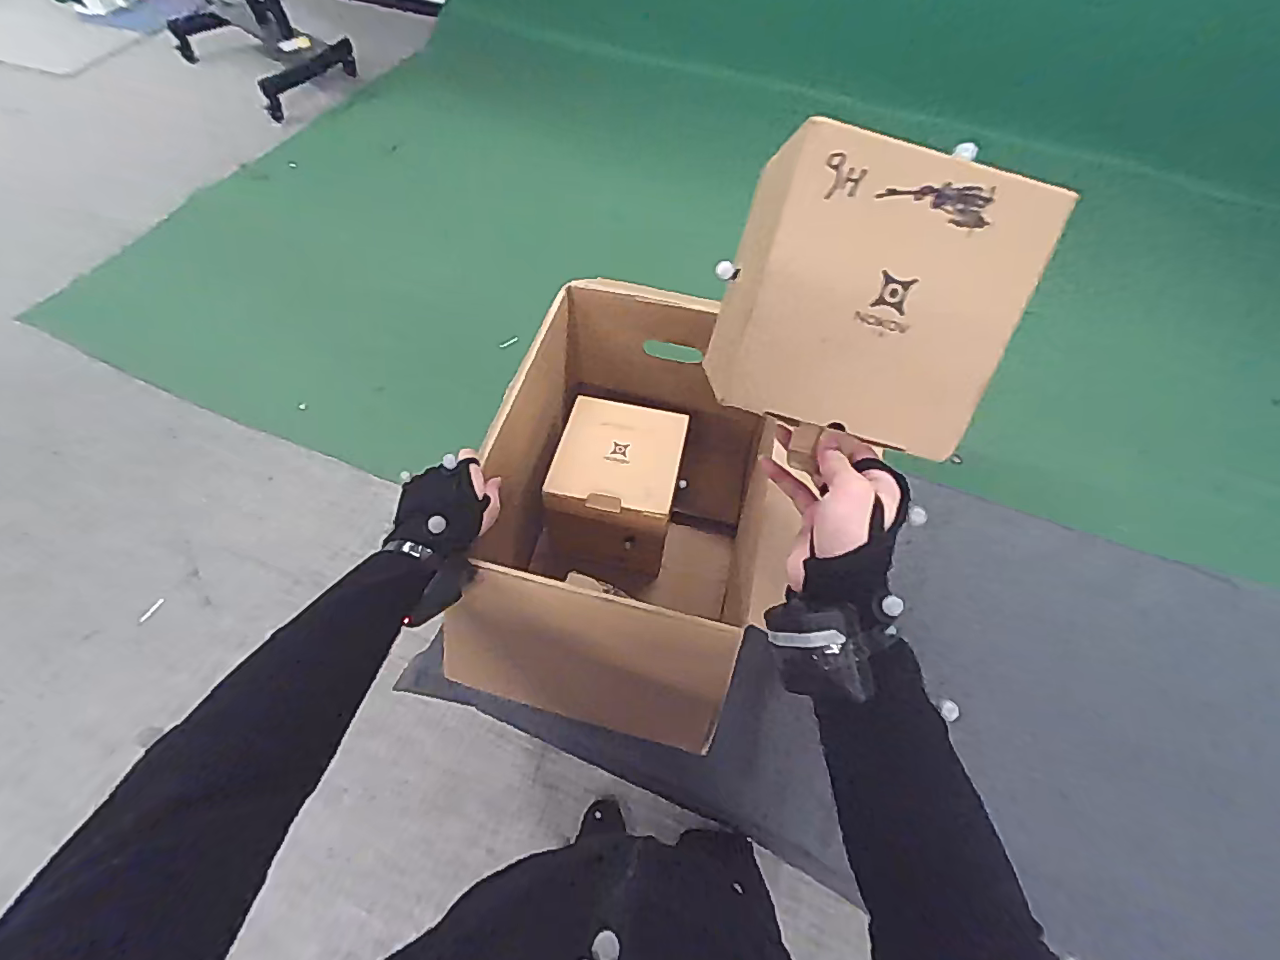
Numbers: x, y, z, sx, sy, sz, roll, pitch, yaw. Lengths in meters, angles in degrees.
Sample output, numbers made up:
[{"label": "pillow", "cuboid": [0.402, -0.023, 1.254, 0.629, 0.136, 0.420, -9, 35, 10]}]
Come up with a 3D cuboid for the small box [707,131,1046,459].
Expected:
[{"label": "small box", "cuboid": [0.155, -0.139, 0.431, 0.168, 0.179, 0.176, 14, 20, -3]}]
